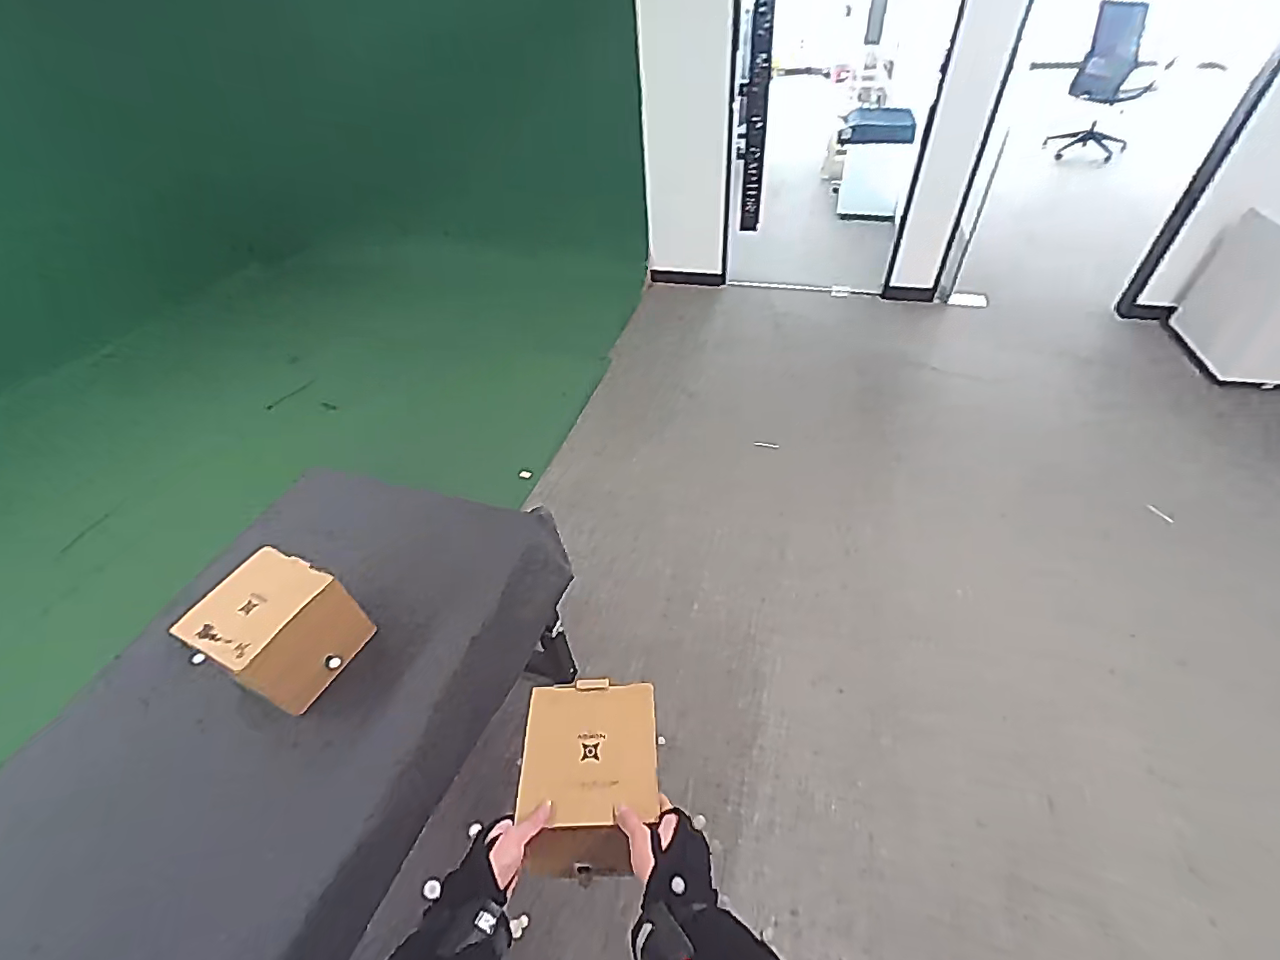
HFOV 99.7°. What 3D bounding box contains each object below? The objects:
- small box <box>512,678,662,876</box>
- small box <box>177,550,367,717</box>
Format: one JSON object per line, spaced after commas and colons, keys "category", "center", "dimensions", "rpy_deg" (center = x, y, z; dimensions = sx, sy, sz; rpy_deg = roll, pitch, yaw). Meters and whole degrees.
{"category": "small box", "center": [-0.057, 0.383, 0.704], "dimensions": [0.168, 0.176, 0.179], "rpy_deg": [-2, 37, 2]}
{"category": "small box", "center": [-0.587, 0.252, 0.895], "dimensions": [0.168, 0.176, 0.179], "rpy_deg": [17, 49, 20]}
